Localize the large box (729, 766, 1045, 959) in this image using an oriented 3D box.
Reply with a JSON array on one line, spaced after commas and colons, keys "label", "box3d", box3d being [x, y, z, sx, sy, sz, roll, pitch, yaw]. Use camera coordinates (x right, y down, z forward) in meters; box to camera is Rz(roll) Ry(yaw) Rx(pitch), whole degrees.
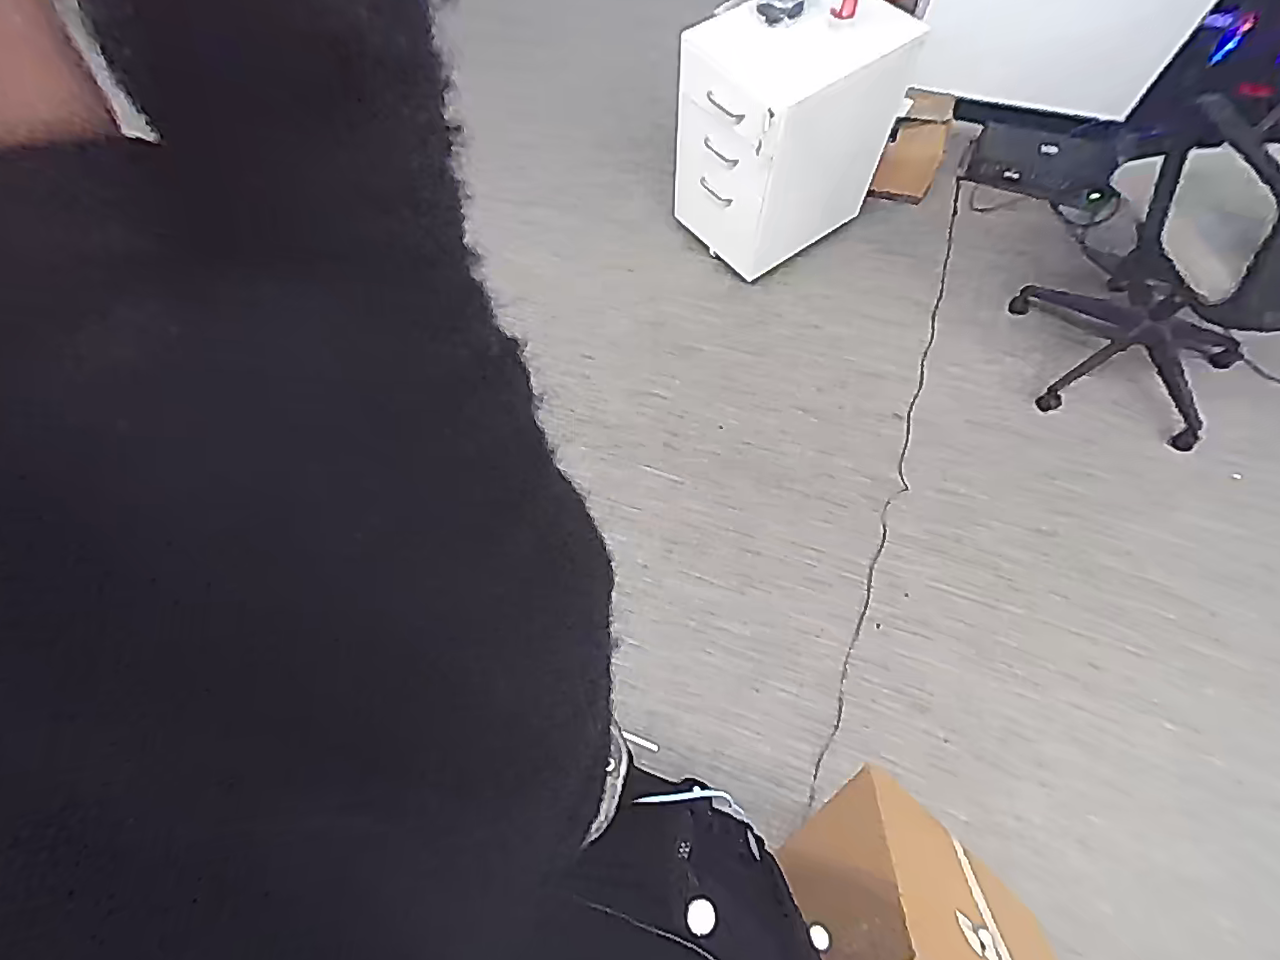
[{"label": "large box", "box3d": [0.320, 0.676, 0.691, 0.320, 0.408, 0.320, 42, 101, 14]}]
